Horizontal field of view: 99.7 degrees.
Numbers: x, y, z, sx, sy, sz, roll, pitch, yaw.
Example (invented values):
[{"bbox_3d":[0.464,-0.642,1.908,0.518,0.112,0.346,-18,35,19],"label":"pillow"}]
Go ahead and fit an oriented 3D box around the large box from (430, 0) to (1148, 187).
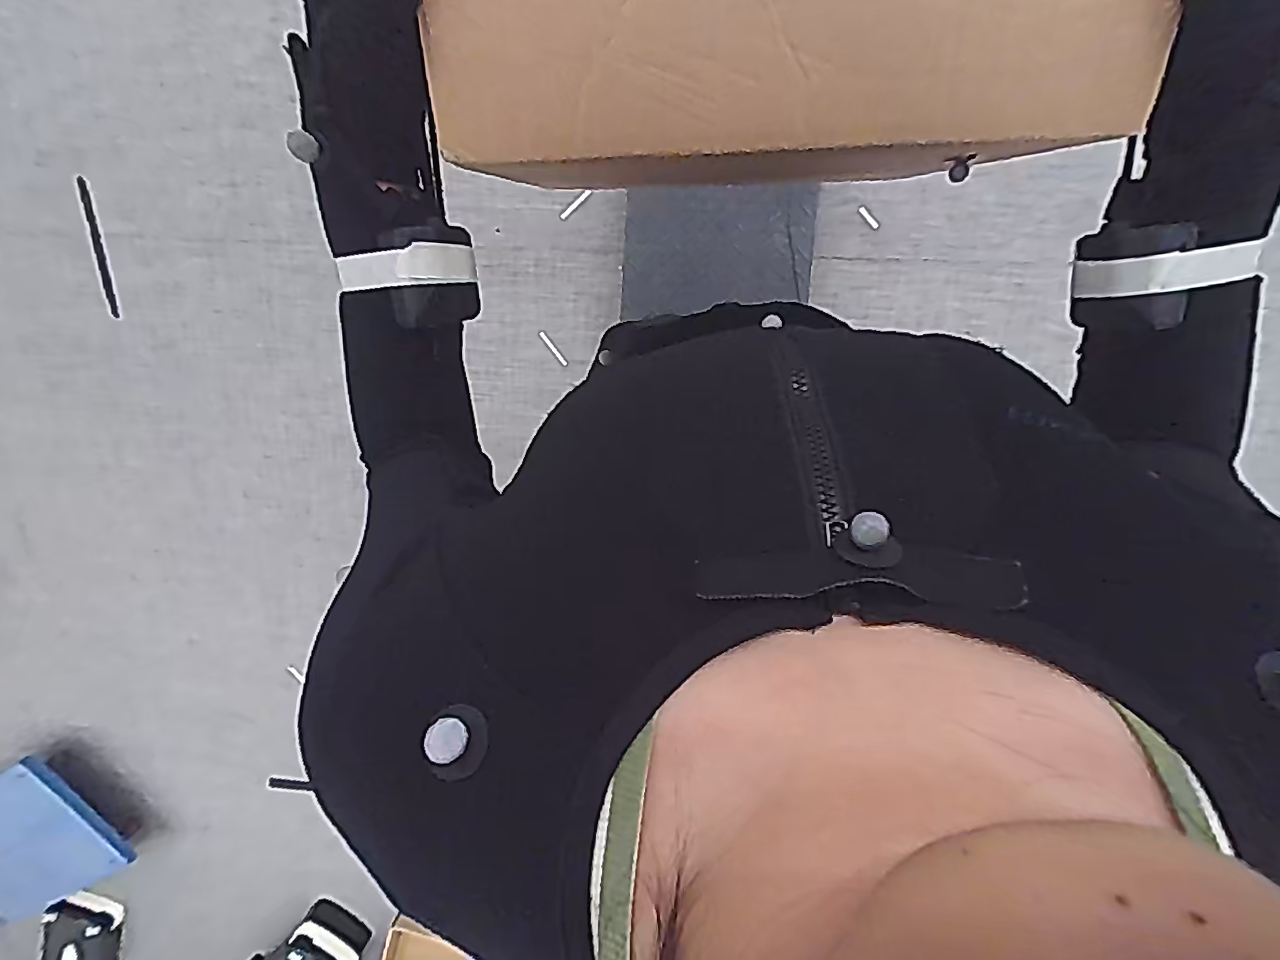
[{"bbox_3d":[0.083,-0.404,0.397,0.408,0.320,0.320,-1,115,3],"label":"large box"}]
